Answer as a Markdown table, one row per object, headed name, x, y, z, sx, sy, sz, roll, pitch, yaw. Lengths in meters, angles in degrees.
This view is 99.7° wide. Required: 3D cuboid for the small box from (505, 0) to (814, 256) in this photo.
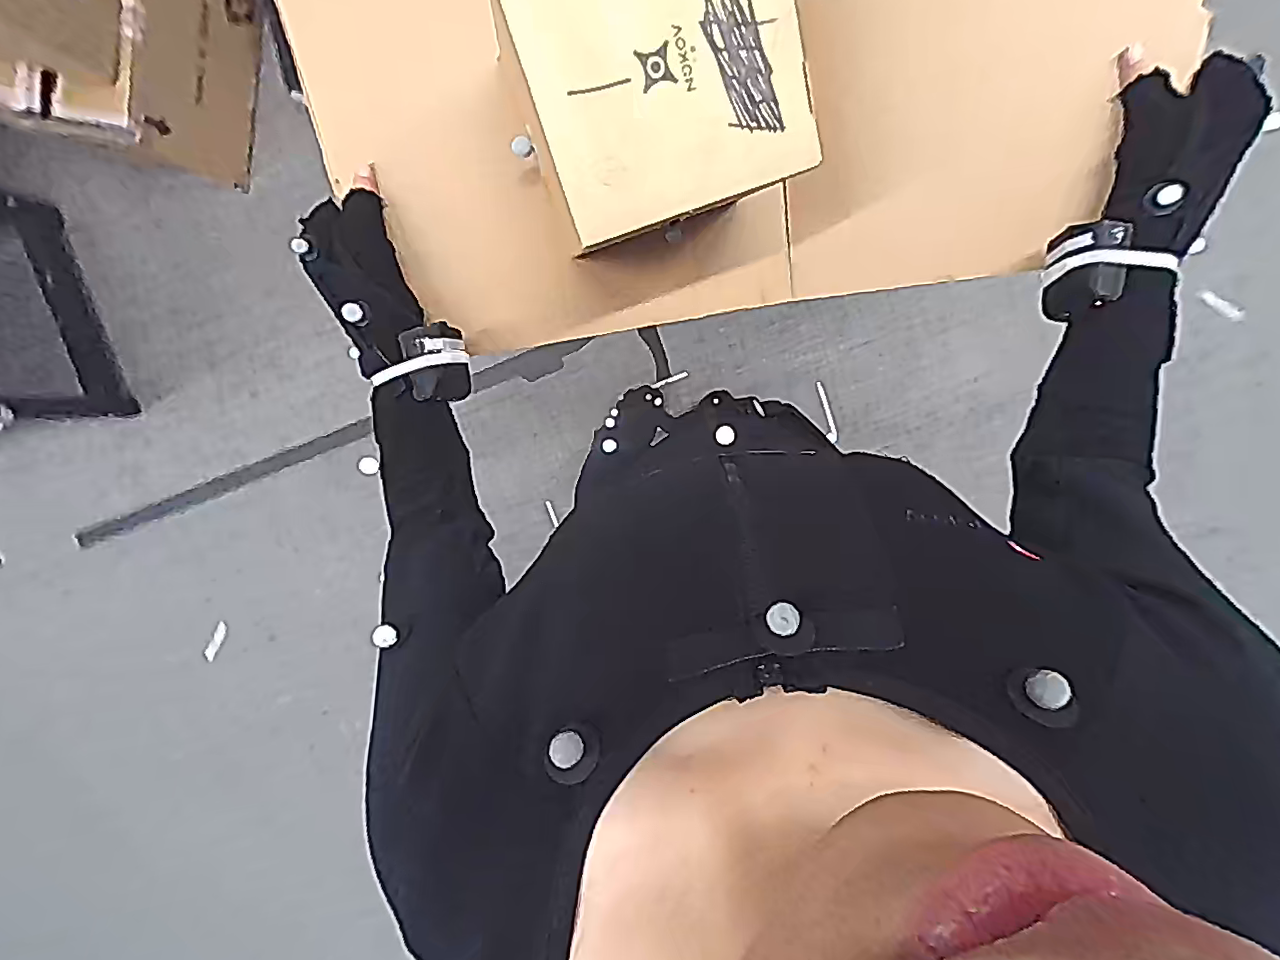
| name | x | y | z | sx | sy | sz | roll | pitch | yaw |
| --- | --- | --- | --- | --- | --- | --- | --- | --- | --- |
| small box | 0.006 | -0.285 | 0.419 | 0.179 | 0.176 | 0.168 | -20 | 112 | -2 |
